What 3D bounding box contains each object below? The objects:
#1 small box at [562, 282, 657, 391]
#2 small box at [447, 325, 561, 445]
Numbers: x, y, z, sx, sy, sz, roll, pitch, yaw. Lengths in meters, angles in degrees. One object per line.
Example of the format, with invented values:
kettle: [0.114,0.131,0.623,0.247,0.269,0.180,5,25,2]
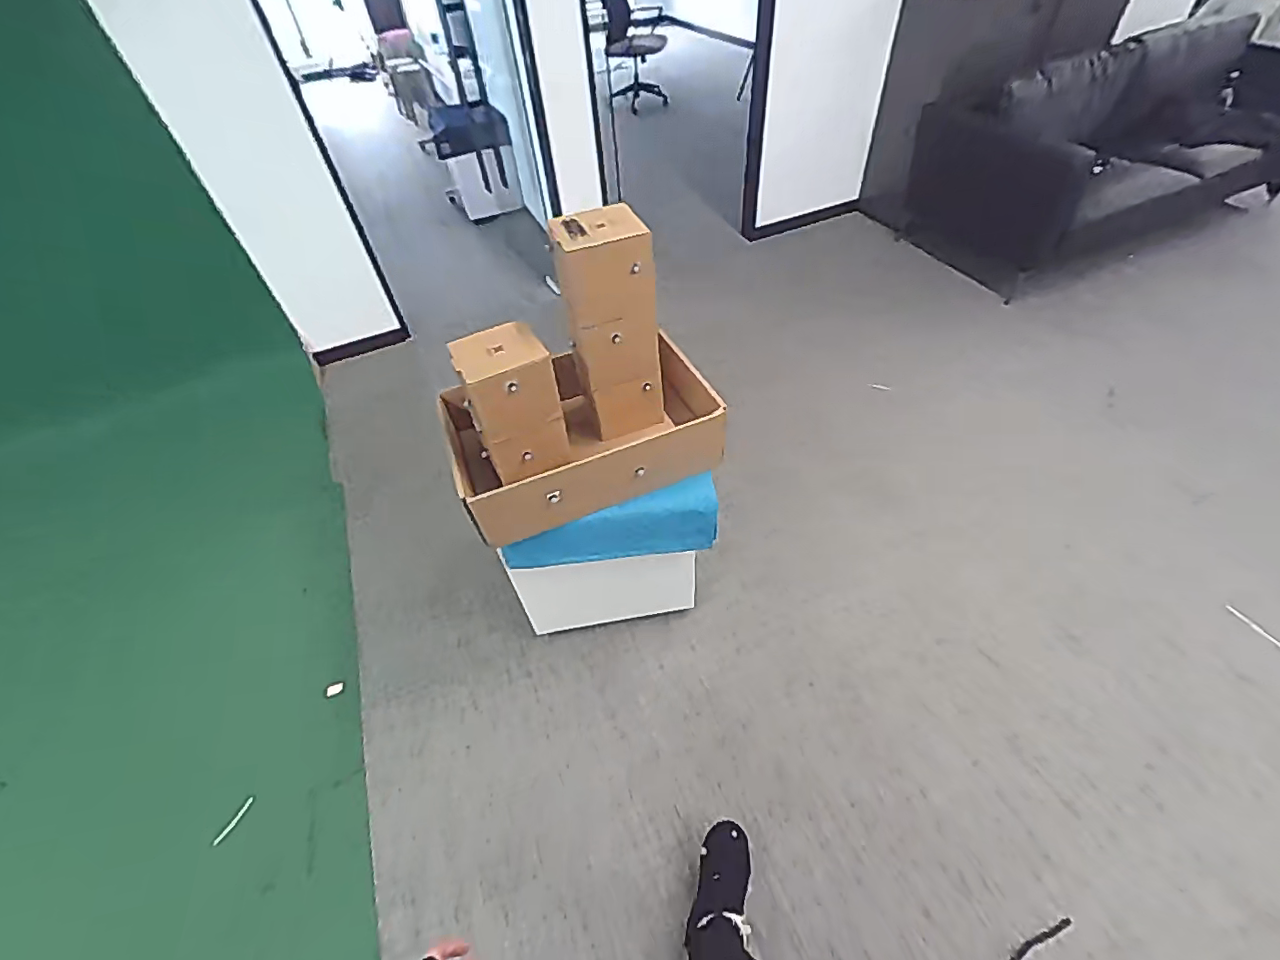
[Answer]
small box: [-0.067,-0.331,1.262,0.179,0.176,0.168,-17,49,-10]
small box: [-0.287,-0.202,1.164,0.179,0.176,0.168,-23,50,-16]
